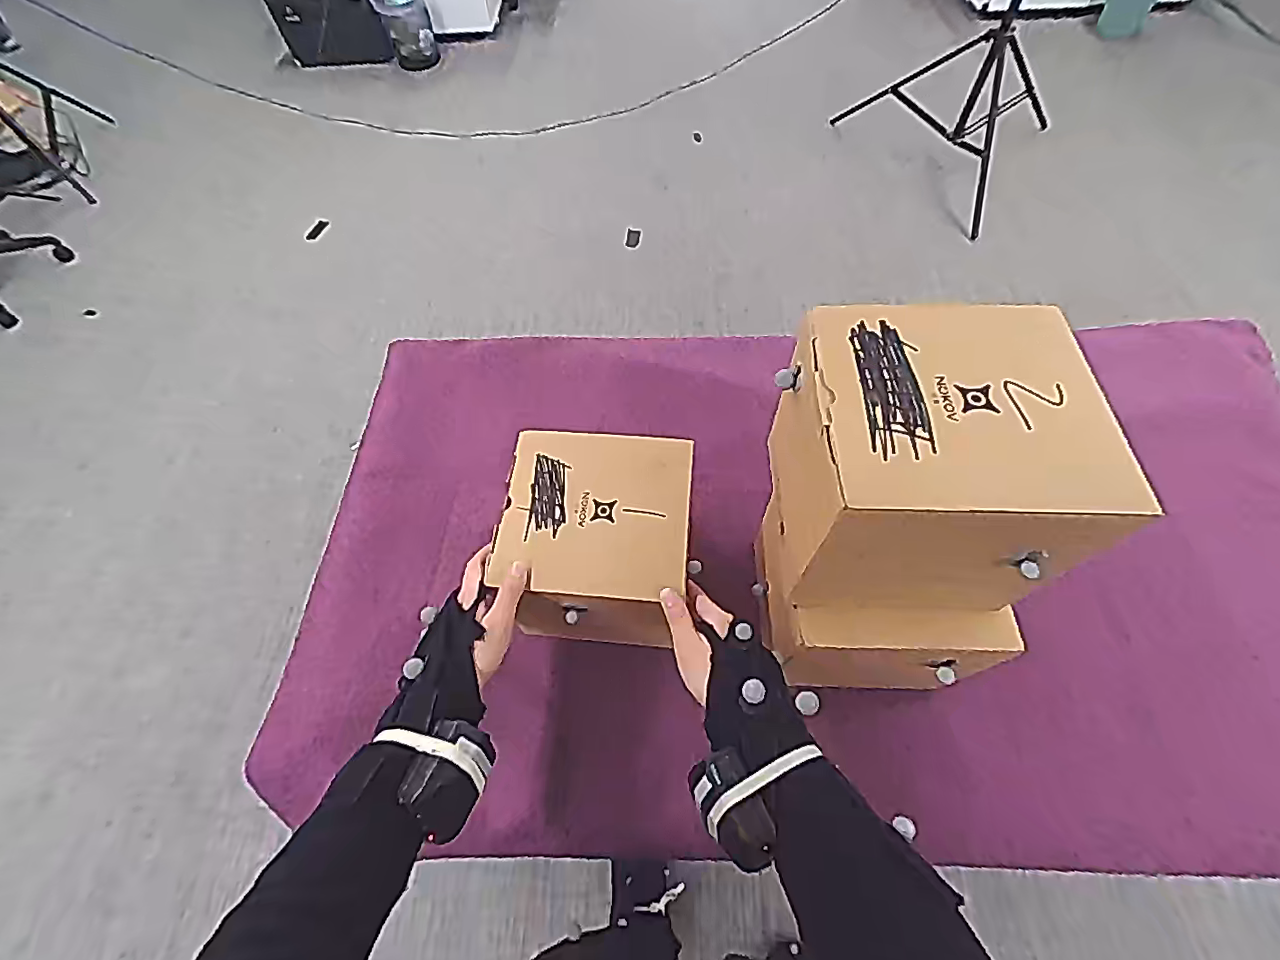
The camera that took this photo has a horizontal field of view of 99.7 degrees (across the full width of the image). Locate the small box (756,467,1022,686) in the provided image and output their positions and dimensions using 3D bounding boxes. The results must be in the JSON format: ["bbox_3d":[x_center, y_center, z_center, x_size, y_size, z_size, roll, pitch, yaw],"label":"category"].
[{"bbox_3d":[0.219,0.101,0.534,0.179,0.176,0.168,0,58,3],"label":"small box"}]
